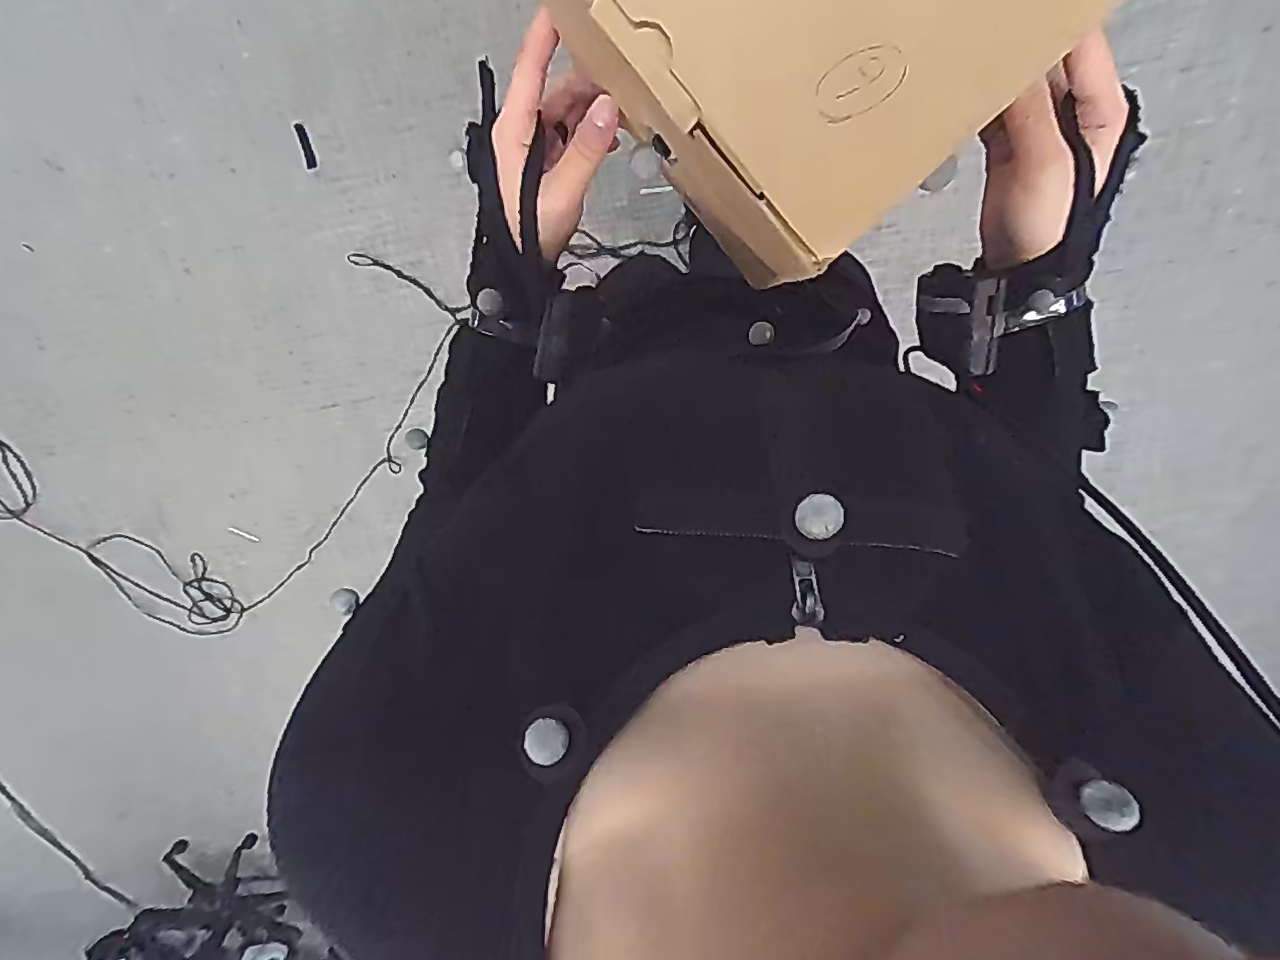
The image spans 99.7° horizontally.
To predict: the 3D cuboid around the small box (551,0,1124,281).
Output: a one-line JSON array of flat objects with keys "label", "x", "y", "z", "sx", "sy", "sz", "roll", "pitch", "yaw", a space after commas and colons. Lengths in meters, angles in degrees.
[{"label": "small box", "x": 0.073, "y": -0.201, "z": 0.216, "sx": 0.179, "sy": 0.176, "sz": 0.168, "roll": -40, "pitch": 99, "yaw": 16}]
